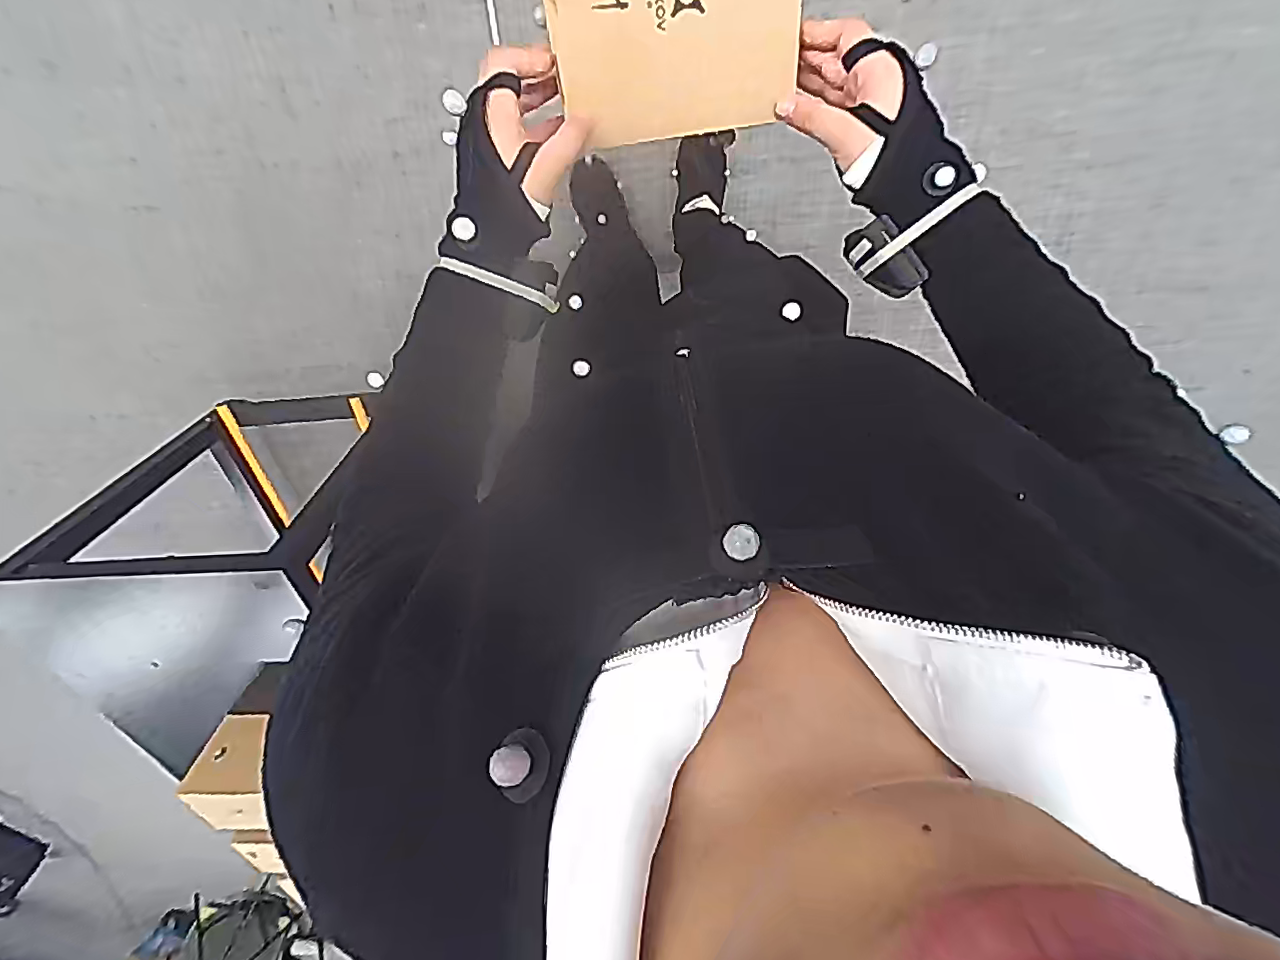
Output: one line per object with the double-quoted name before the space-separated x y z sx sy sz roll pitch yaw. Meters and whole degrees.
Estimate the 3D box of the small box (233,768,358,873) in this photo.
"small box" -0.804 0.809 1.292 0.179 0.176 0.168 -3 125 2

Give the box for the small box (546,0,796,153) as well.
"small box" 0.016 -0.379 0.434 0.179 0.176 0.168 -8 129 1

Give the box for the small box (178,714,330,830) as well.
"small box" -0.814 0.624 1.162 0.179 0.176 0.168 -2 127 1
